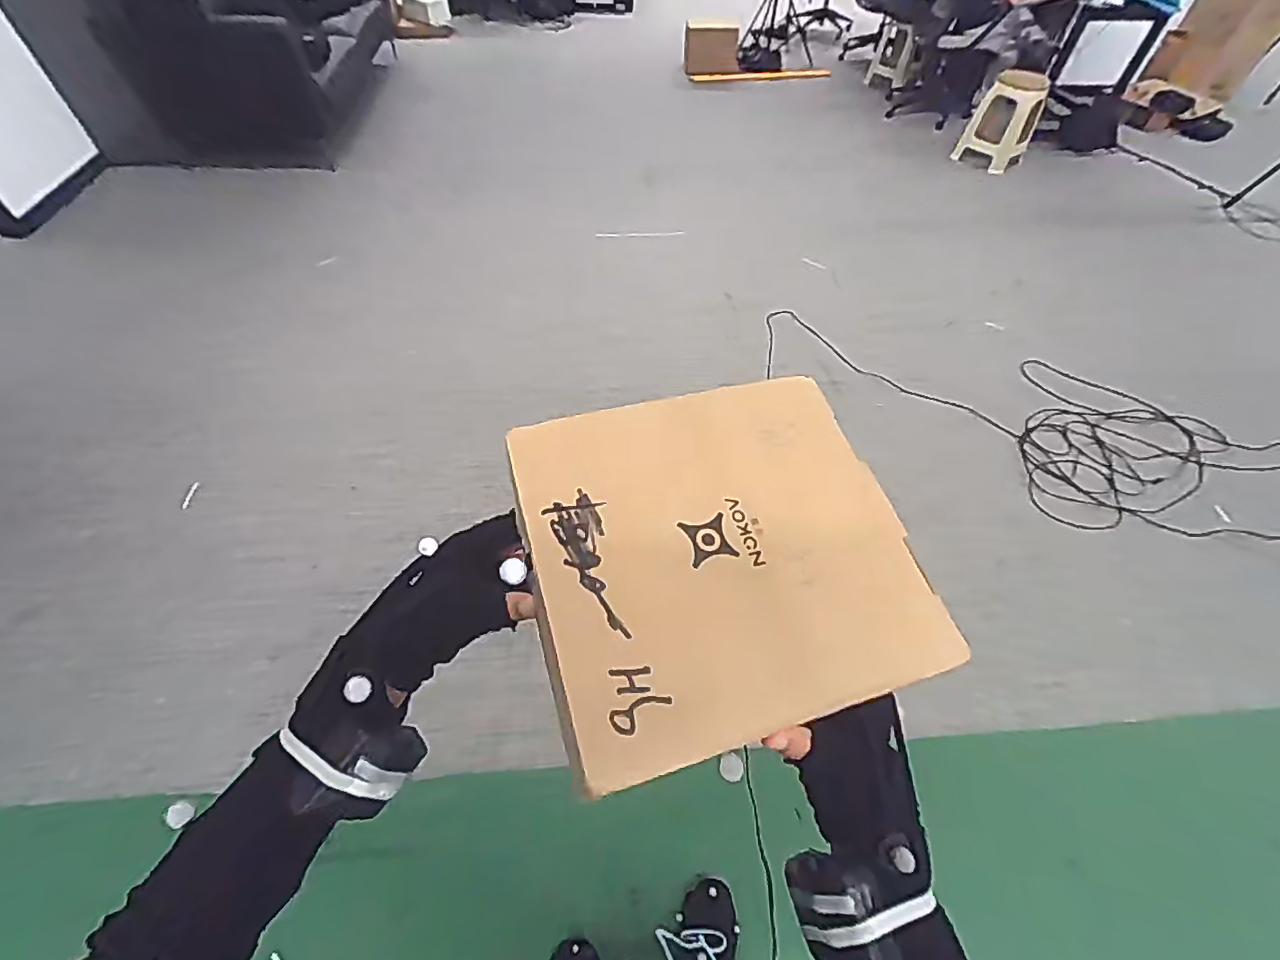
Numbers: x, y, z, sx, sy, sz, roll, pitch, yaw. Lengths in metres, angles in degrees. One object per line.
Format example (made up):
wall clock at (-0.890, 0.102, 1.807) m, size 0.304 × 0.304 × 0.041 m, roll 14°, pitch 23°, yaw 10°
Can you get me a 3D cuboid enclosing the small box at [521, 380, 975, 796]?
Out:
small box at (0.032, 0.067, 0.316) m, size 0.179 × 0.176 × 0.168 m, roll -11°, pitch 62°, yaw -15°
